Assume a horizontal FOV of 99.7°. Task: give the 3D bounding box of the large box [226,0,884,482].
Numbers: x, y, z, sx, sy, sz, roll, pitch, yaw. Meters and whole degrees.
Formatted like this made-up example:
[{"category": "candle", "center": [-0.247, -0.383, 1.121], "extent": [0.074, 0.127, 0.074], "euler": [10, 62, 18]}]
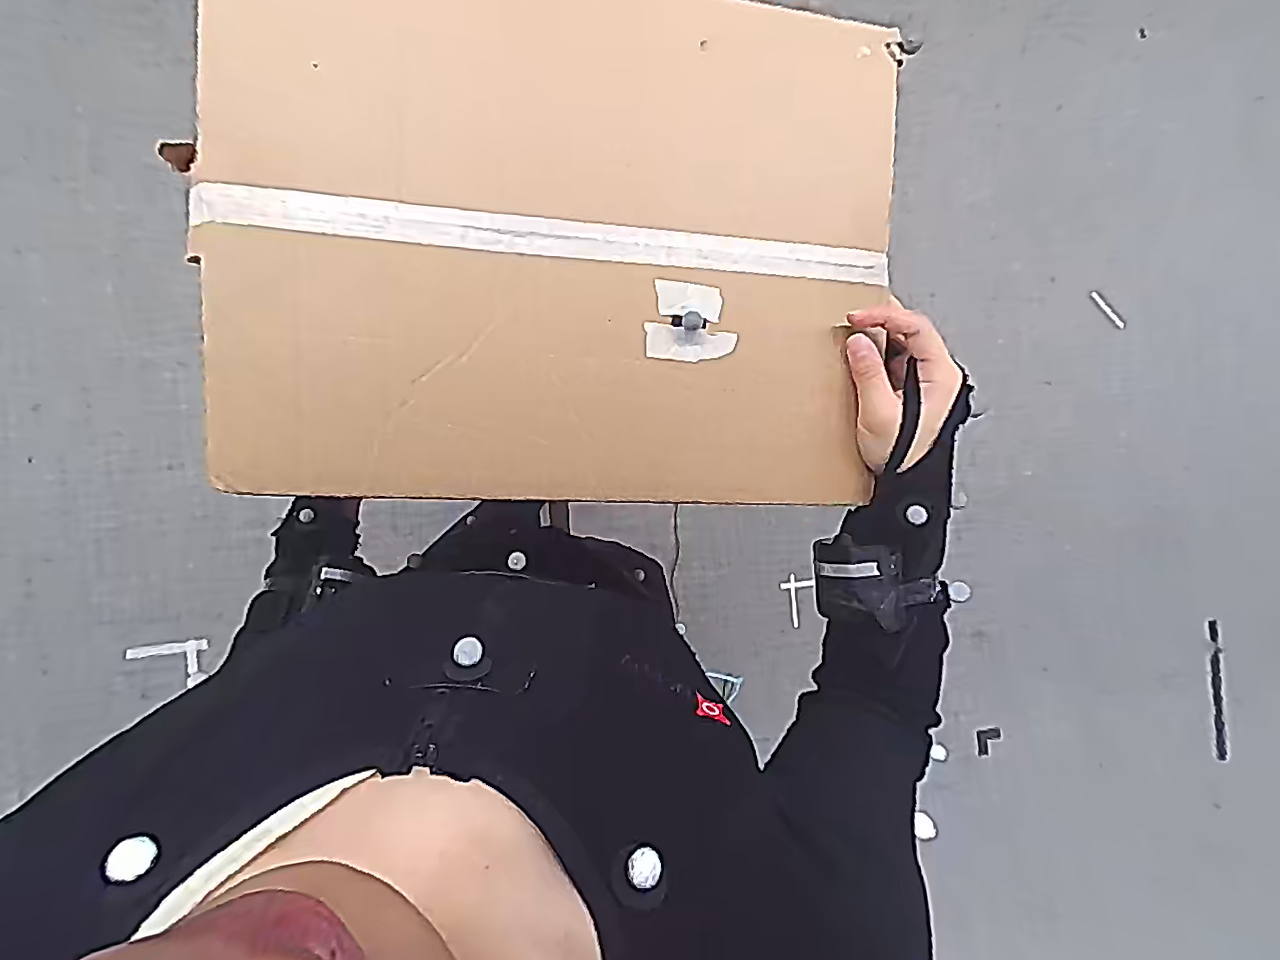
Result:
[{"category": "large box", "center": [-0.062, -0.163, 0.480], "extent": [0.408, 0.320, 0.320], "euler": [1, 94, -12]}]
